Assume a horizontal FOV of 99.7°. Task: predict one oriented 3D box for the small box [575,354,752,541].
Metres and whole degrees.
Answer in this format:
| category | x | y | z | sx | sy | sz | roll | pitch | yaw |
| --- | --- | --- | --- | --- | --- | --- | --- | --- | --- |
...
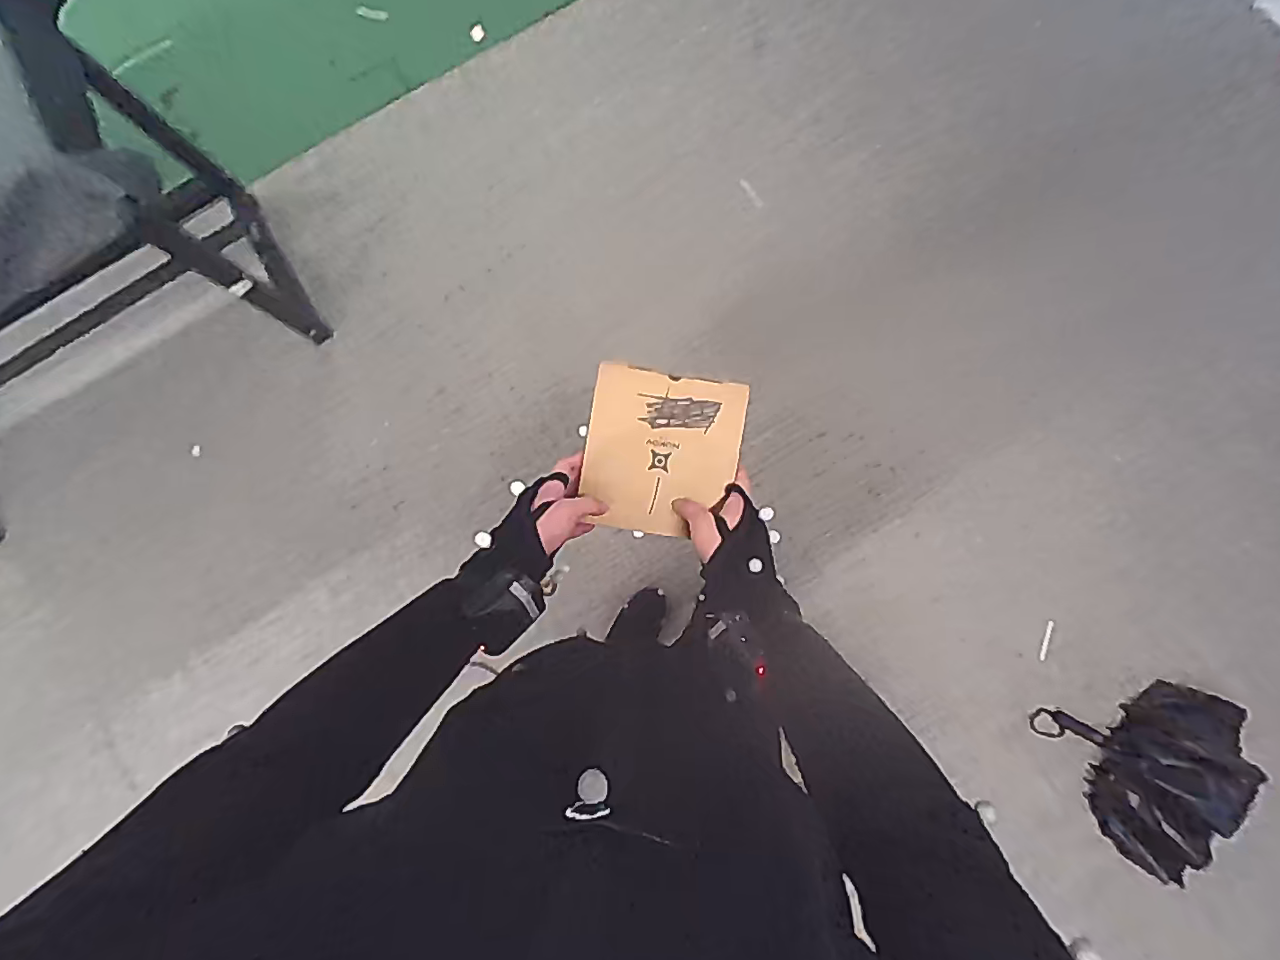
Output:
| category | x | y | z | sx | sy | sz | roll | pitch | yaw |
| --- | --- | --- | --- | --- | --- | --- | --- | --- | --- |
| small box | 0.022 | -0.034 | 0.645 | 0.168 | 0.176 | 0.179 | 9 | 90 | -1 |
